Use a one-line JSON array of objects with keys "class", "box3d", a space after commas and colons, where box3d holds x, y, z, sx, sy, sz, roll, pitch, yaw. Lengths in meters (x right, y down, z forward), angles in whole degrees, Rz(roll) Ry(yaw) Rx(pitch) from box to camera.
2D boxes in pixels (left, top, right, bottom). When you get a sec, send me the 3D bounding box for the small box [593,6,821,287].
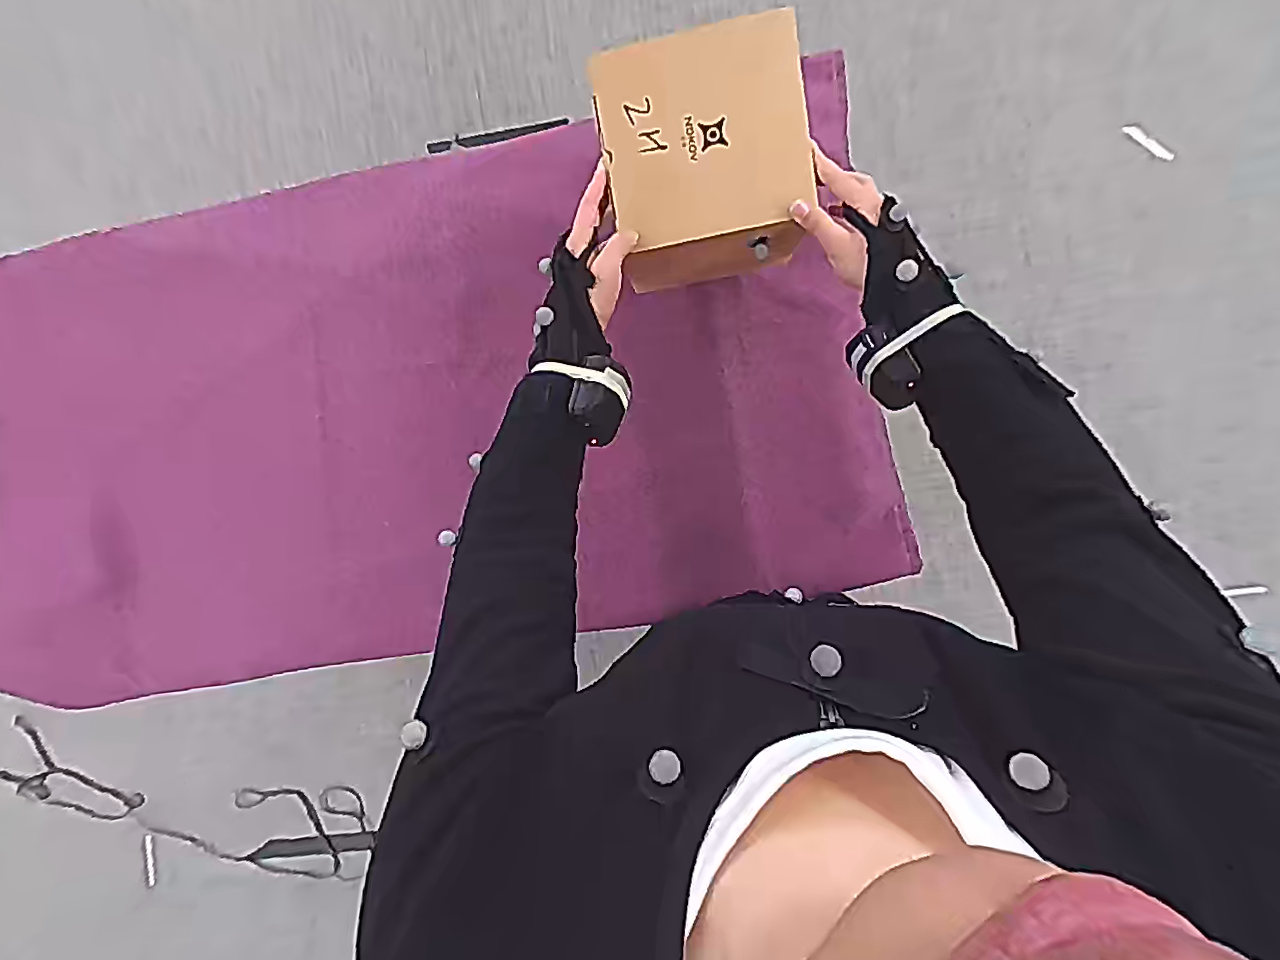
[{"class": "small box", "box3d": [0.063, -0.303, 0.534, 0.179, 0.176, 0.168, -9, 96, 7]}]
